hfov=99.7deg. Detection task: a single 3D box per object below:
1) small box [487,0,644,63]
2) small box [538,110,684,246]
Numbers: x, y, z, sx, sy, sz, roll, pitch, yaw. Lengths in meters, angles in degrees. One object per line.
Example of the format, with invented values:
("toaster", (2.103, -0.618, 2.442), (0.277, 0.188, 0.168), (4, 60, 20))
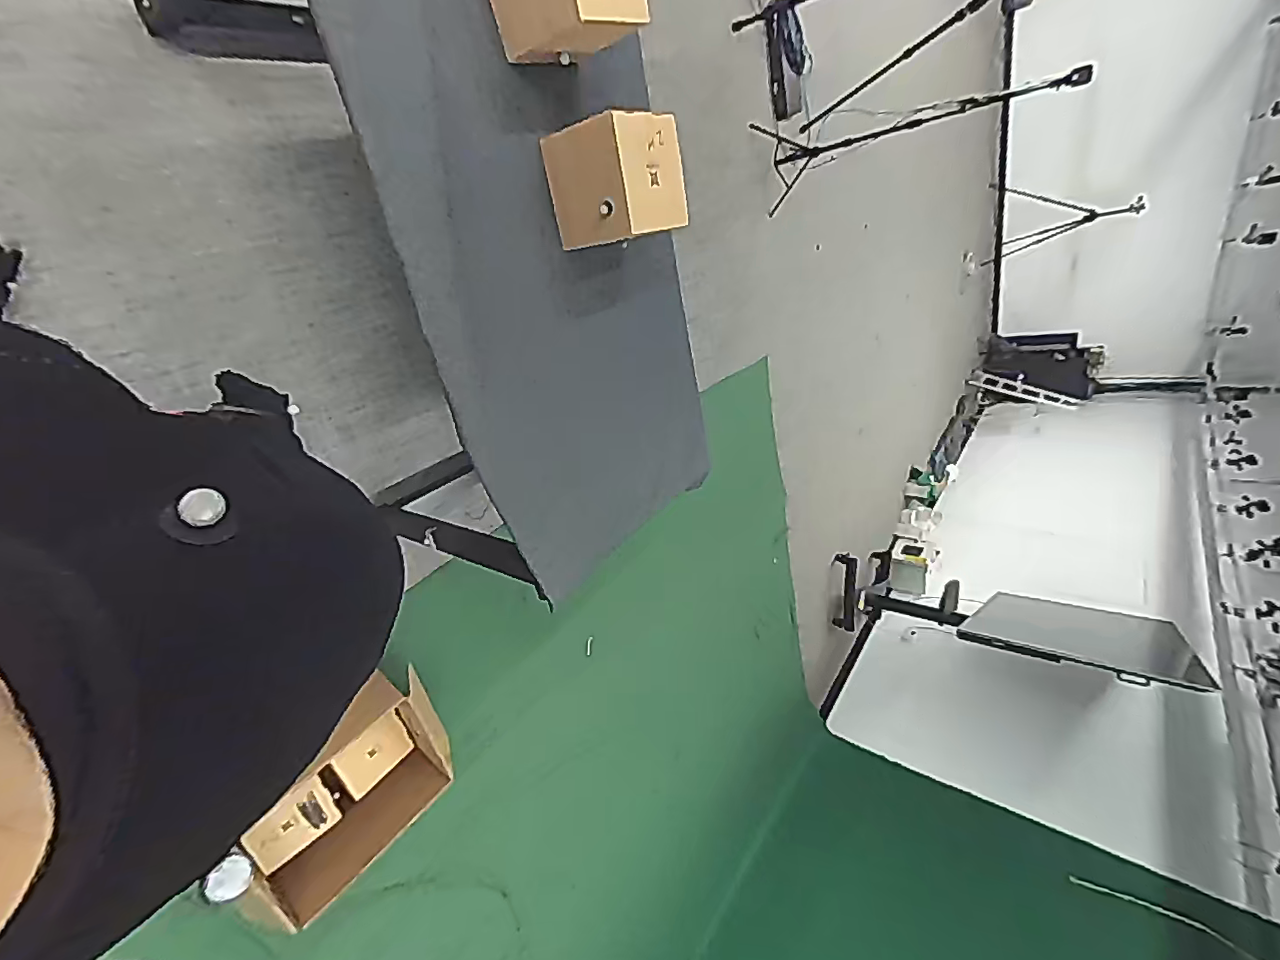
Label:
("small box", (-0.123, -0.754, 0.800), (0.168, 0.176, 0.179), (-40, 126, -39))
("small box", (-0.049, -0.511, 0.934), (0.168, 0.176, 0.179), (-34, 122, -42))
